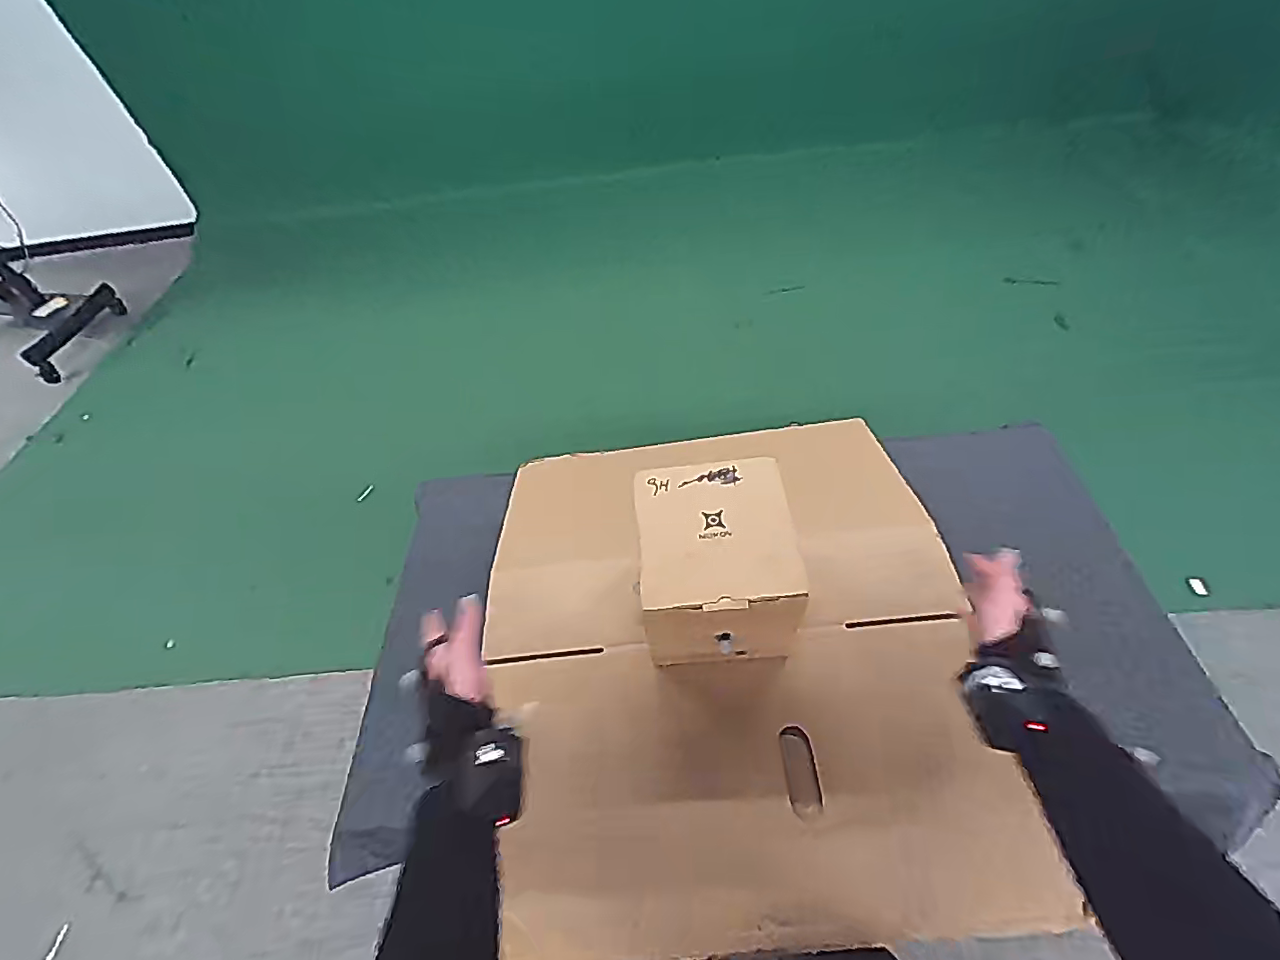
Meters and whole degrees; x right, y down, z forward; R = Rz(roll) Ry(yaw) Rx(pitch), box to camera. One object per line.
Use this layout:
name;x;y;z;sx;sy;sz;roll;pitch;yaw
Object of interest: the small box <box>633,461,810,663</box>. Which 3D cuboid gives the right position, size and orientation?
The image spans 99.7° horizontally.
small box;0.090;0.105;0.641;0.168;0.176;0.179;-9;53;2
